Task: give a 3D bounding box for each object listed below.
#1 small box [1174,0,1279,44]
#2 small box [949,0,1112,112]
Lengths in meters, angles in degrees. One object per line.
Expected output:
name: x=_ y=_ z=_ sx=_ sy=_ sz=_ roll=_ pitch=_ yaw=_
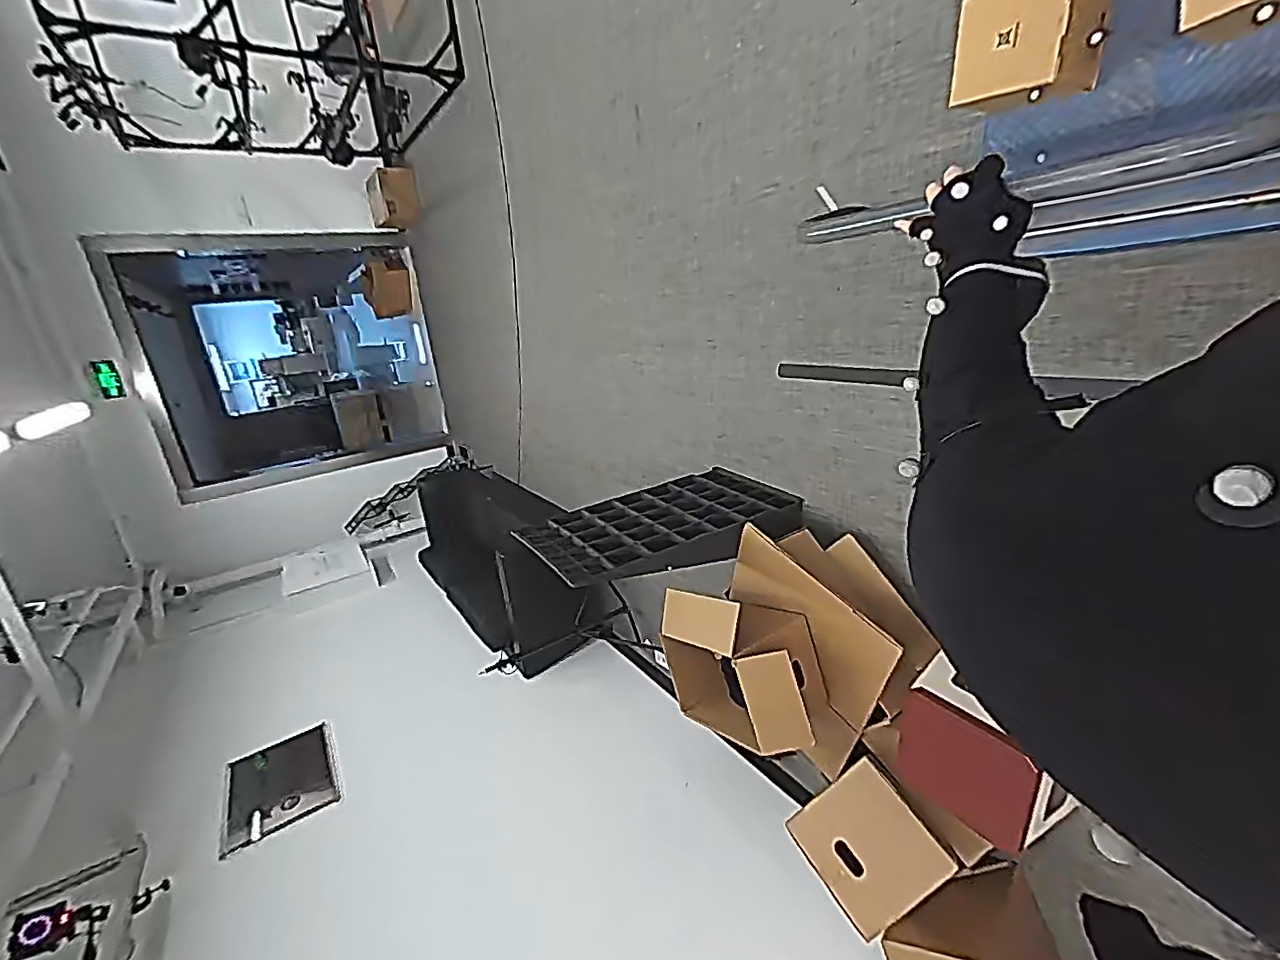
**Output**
small box: x=0.865 y=-0.724 z=0.720 sx=0.179 sy=0.176 sz=0.168 roll=13 pitch=116 yaw=56
small box: x=0.694 y=-0.780 z=0.968 sx=0.179 sy=0.176 sz=0.168 roll=24 pitch=125 yaw=51
